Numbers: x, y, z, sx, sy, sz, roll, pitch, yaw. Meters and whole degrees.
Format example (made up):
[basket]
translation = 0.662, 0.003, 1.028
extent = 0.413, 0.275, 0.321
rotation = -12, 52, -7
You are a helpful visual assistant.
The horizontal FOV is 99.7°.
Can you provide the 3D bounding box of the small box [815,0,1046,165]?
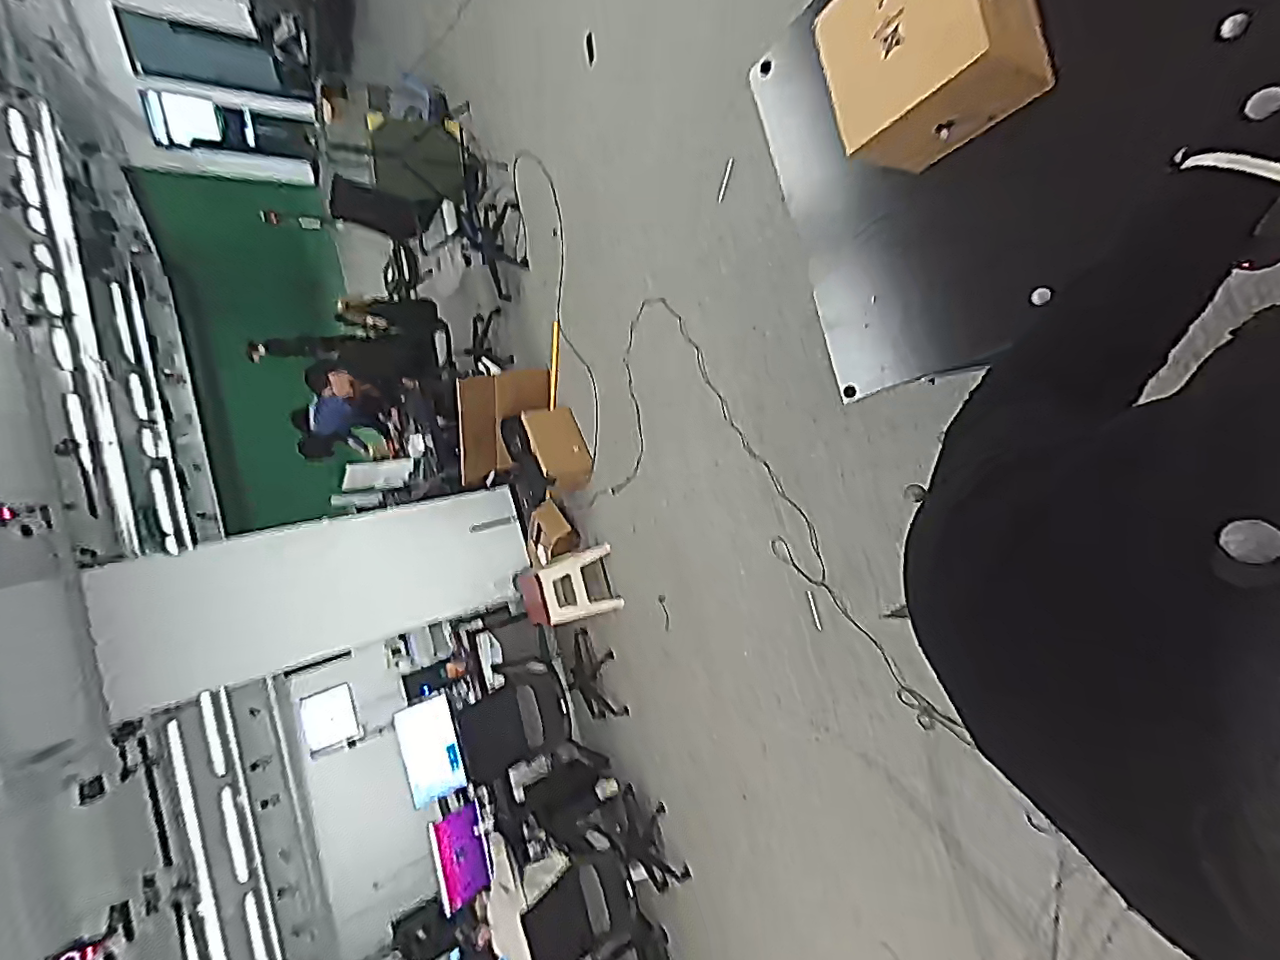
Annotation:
[small box]
translation = 0.344, -0.505, 0.643
extent = 0.168, 0.176, 0.179
rotation = -15, 87, 56
